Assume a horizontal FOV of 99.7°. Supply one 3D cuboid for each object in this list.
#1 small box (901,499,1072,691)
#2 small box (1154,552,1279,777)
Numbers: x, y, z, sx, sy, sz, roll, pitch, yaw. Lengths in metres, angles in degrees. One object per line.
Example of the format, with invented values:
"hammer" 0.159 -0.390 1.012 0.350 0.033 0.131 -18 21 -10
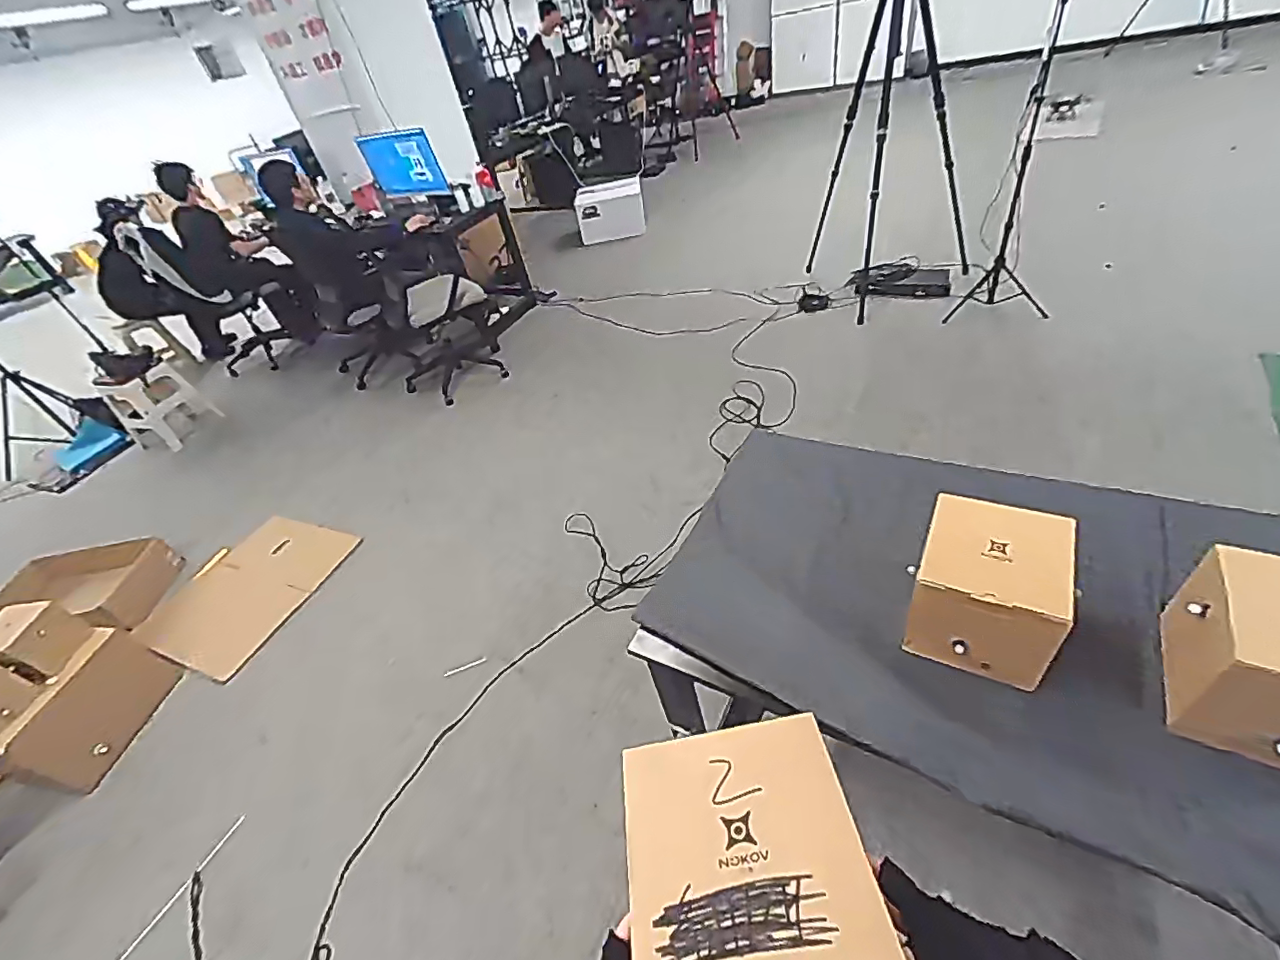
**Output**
"small box" 0.483 0.160 0.766 0.168 0.176 0.179 14 48 28
"small box" 0.740 0.219 0.628 0.168 0.176 0.179 14 48 29
